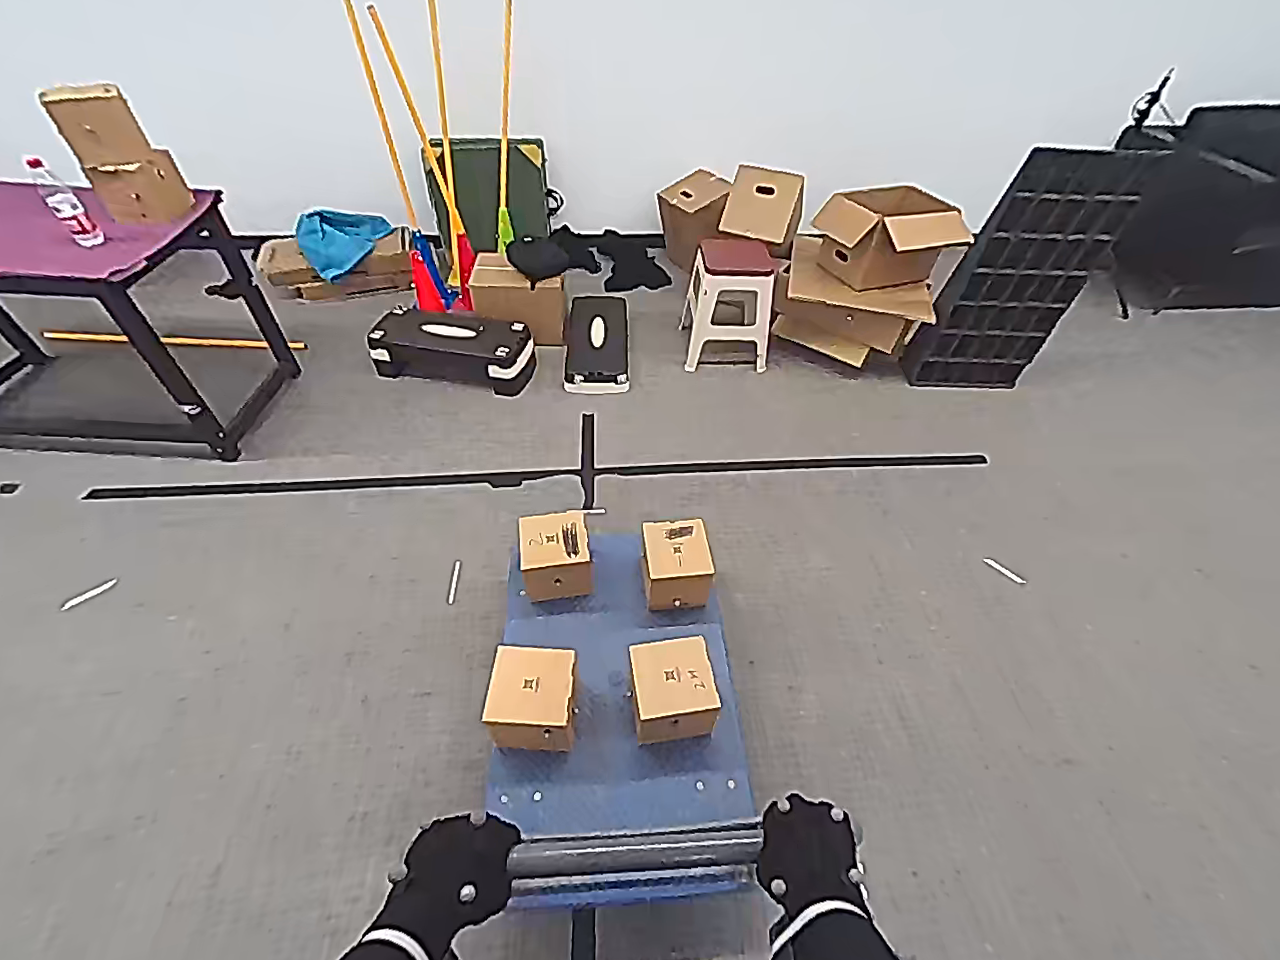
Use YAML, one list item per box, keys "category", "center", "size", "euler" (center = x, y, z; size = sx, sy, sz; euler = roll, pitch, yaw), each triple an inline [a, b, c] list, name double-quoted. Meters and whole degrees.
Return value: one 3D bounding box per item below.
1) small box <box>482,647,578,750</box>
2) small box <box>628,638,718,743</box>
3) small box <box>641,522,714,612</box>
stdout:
- category: "small box"
  center: [-0.238, 0.493, 1.216]
  size: [0.179, 0.176, 0.168]
  euler: [4, 47, -1]
- category: "small box"
  center: [0.068, 0.485, 1.238]
  size: [0.179, 0.176, 0.168]
  euler: [-5, 49, -7]
- category: "small box"
  center: [0.094, 0.236, 1.465]
  size: [0.168, 0.176, 0.179]
  euler: [-3, 49, -6]
